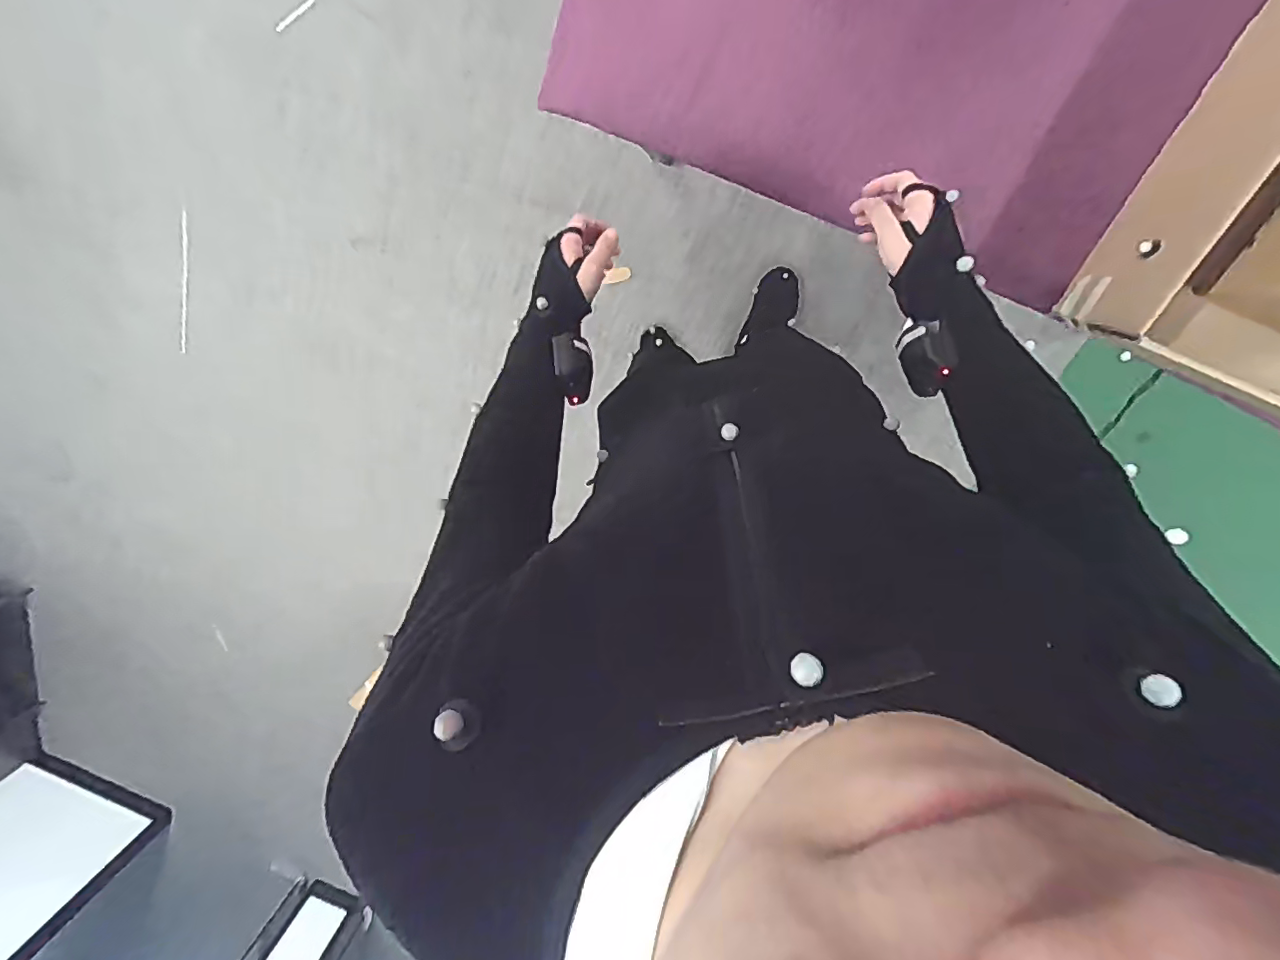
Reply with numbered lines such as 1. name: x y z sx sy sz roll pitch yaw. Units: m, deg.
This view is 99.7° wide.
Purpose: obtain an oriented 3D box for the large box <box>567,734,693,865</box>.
1. large box: -0.022 1.200 2.055 0.408 0.320 0.320 -5 111 12
